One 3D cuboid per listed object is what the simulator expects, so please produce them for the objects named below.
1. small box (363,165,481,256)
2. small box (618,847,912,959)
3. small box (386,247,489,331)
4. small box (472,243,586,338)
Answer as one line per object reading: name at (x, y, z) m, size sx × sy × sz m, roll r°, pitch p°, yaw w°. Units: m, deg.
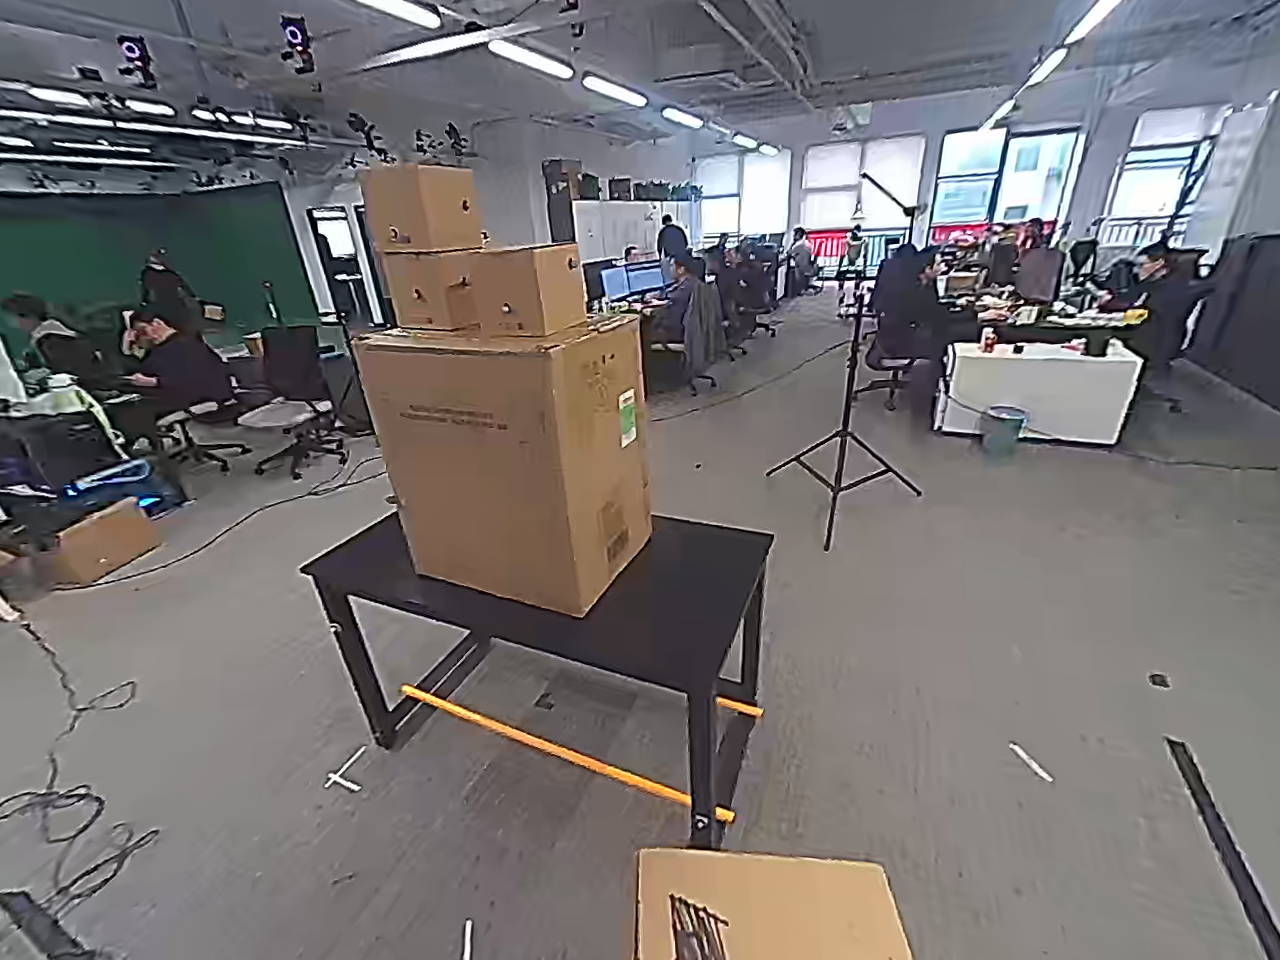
small box at (-0.476, -0.598, 1.210) m, size 0.168 × 0.176 × 0.179 m, roll 7°, pitch 28°, yaw 21°
small box at (0.072, 0.367, 0.342) m, size 0.179 × 0.176 × 0.168 m, roll 6°, pitch 31°, yaw -3°
small box at (-0.462, -0.456, 1.291) m, size 0.168 × 0.176 × 0.179 m, roll 9°, pitch 29°, yaw 22°
small box at (-0.227, -0.408, 1.157) m, size 0.168 × 0.176 × 0.179 m, roll 7°, pitch 28°, yaw 24°
